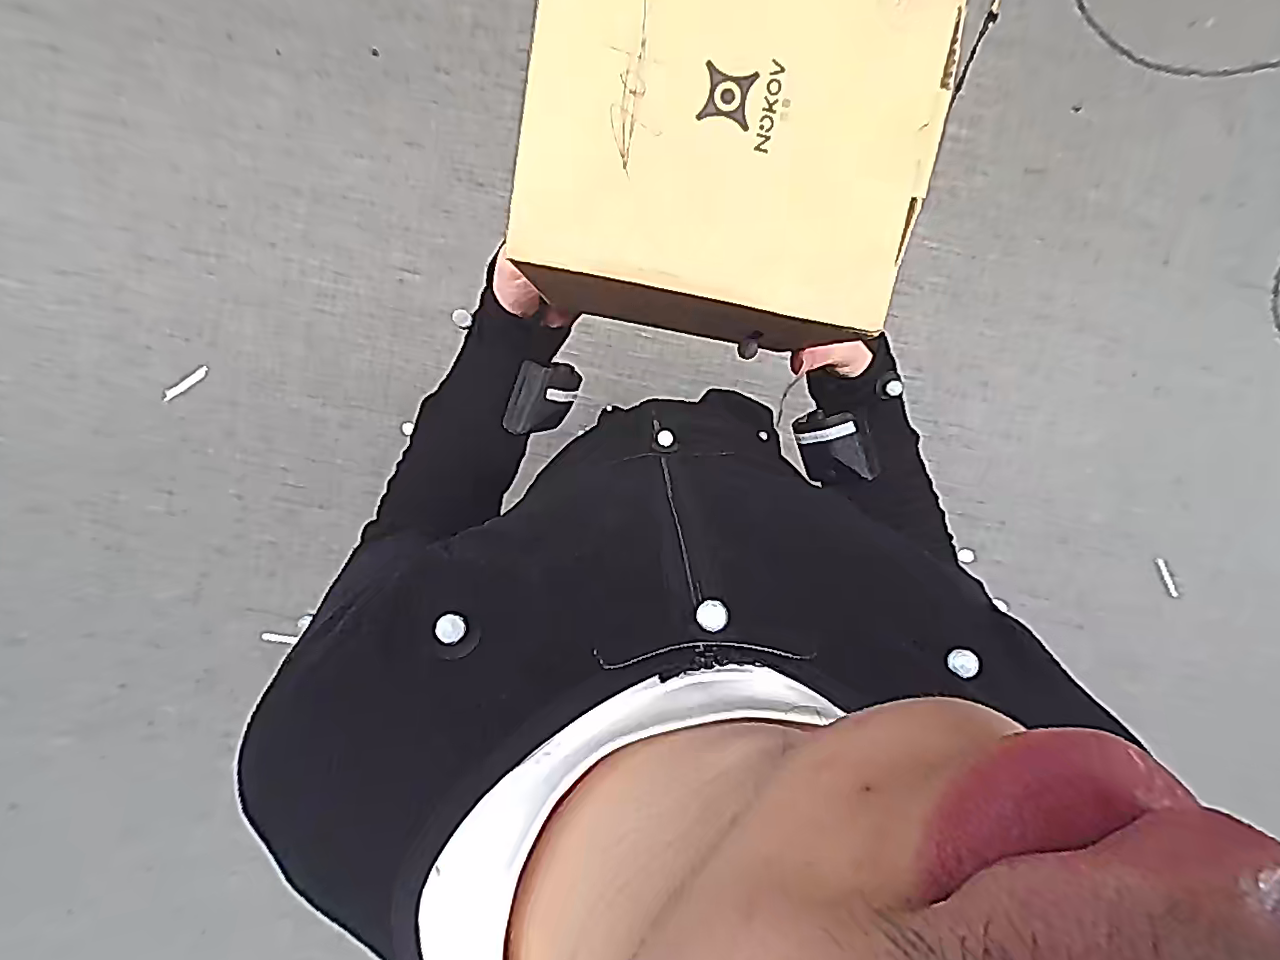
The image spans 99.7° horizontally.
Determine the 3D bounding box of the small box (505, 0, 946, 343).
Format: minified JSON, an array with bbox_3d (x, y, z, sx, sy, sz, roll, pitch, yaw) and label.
[{"bbox_3d":[0.034,-0.180,0.319,0.179,0.176,0.168,10,99,-4],"label":"small box"}]
